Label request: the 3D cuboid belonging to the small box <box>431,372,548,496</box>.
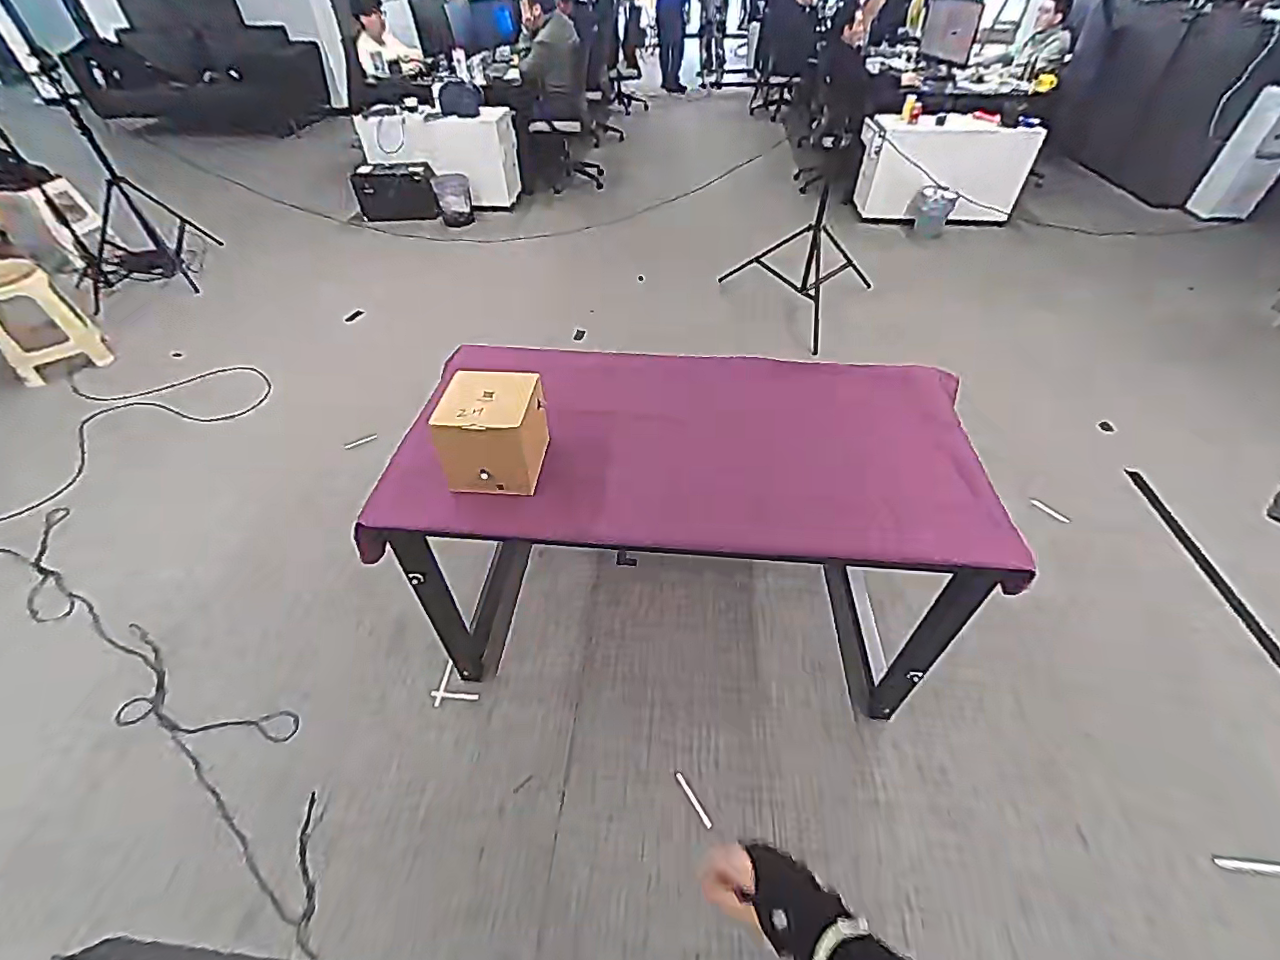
[{"bbox_3d":[-0.280,-0.091,1.055,0.168,0.176,0.179,2,44,3],"label":"small box"}]
